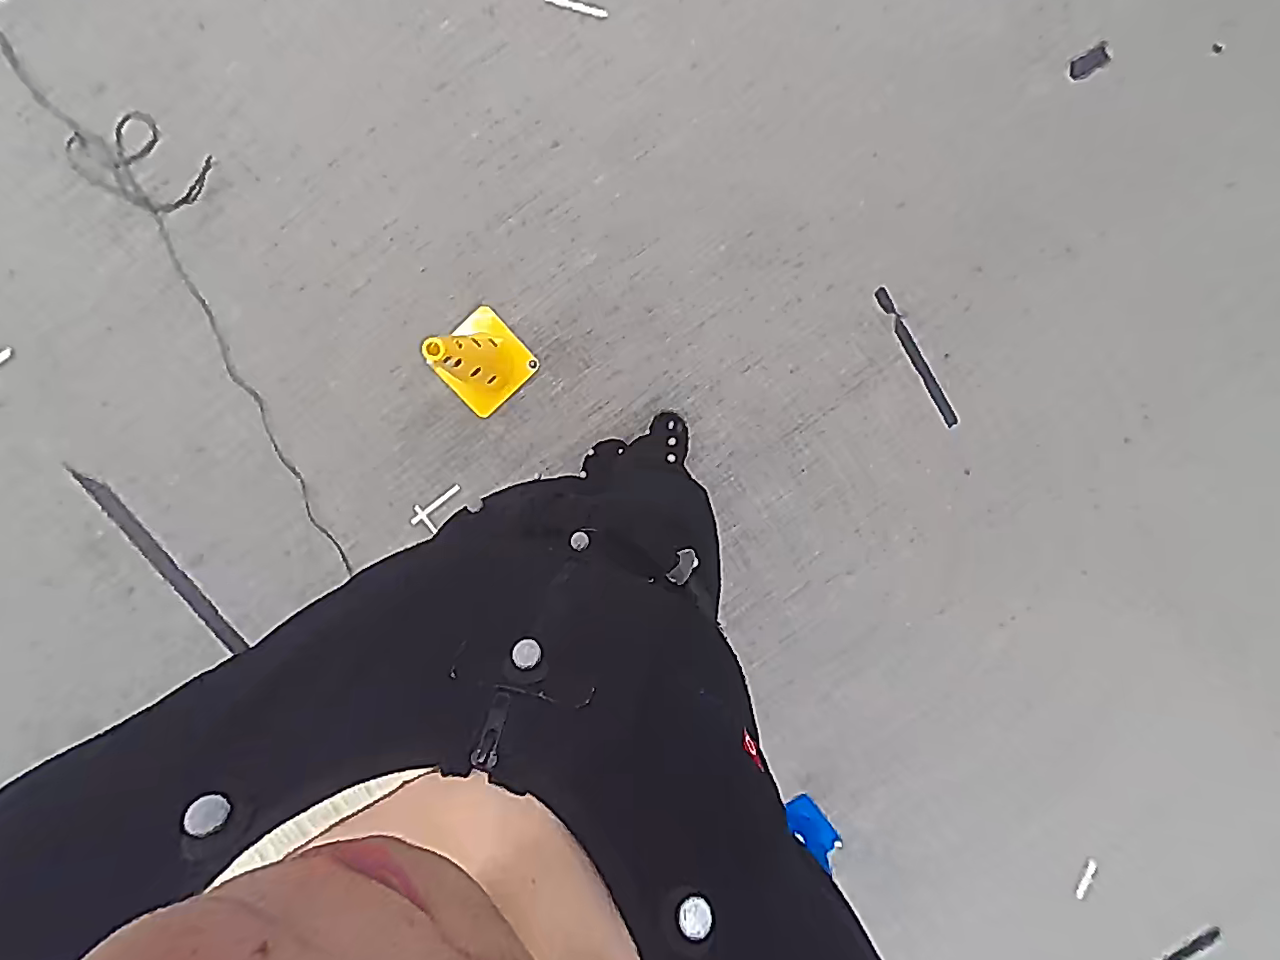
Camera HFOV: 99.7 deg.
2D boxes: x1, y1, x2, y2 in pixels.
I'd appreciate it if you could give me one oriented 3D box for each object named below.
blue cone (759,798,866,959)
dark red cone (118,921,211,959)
[{"bbox_3d":[0.454,1.023,1.352,0.192,0.380,0.193,-35,98,2],"label":"blue cone"},{"bbox_3d":[-1.279,1.330,1.303,0.201,0.394,0.202,-43,97,3],"label":"dark red cone"}]
